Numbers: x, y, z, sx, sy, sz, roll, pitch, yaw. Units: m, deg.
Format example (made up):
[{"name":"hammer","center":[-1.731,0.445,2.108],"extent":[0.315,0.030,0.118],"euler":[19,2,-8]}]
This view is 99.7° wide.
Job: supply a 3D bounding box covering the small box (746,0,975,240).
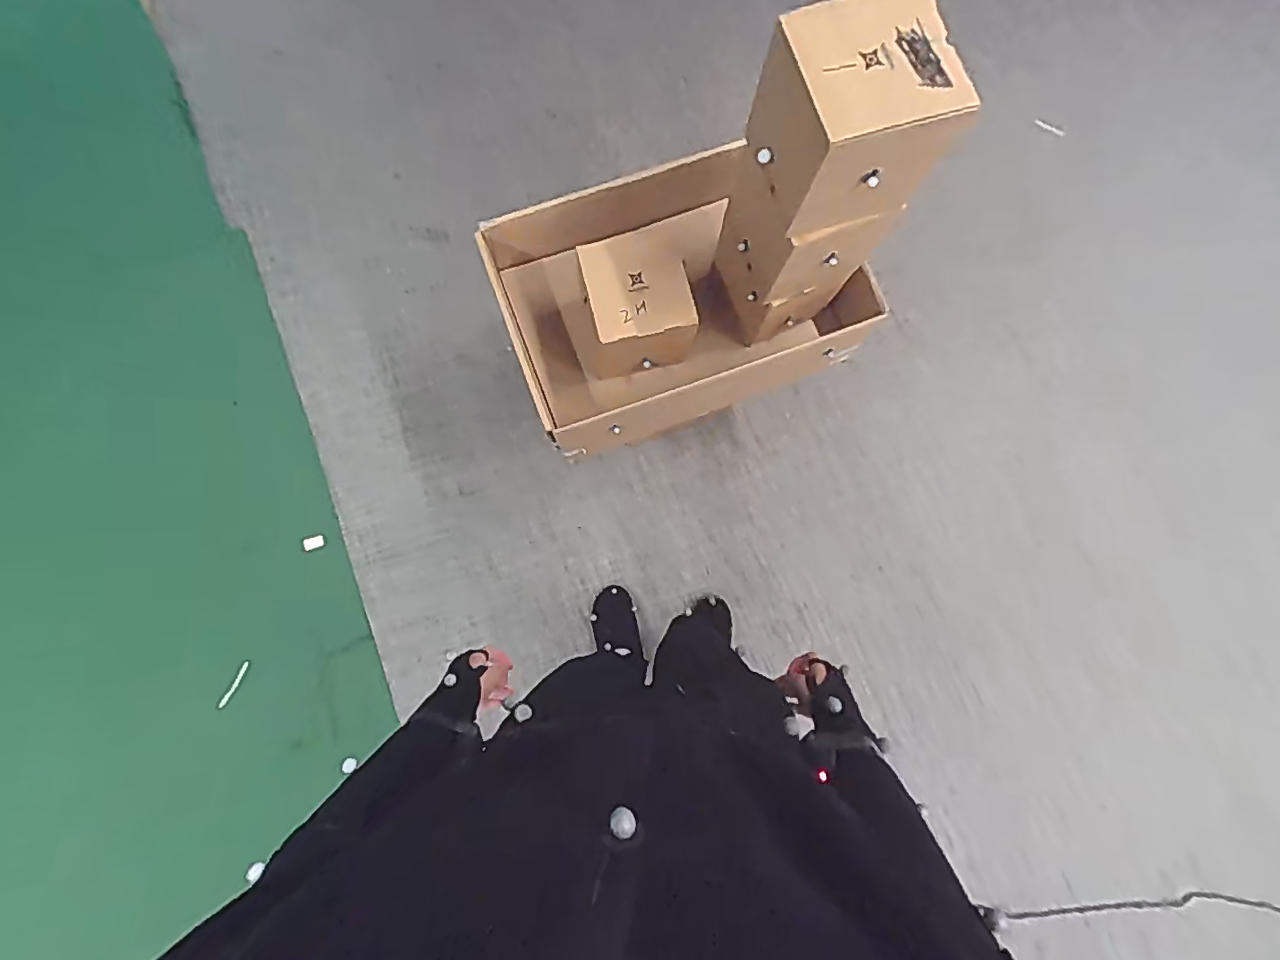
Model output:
[{"name":"small box","center":[0.249,-0.427,0.655],"extent":[0.179,0.176,0.168],"euler":[-17,81,-4]}]
